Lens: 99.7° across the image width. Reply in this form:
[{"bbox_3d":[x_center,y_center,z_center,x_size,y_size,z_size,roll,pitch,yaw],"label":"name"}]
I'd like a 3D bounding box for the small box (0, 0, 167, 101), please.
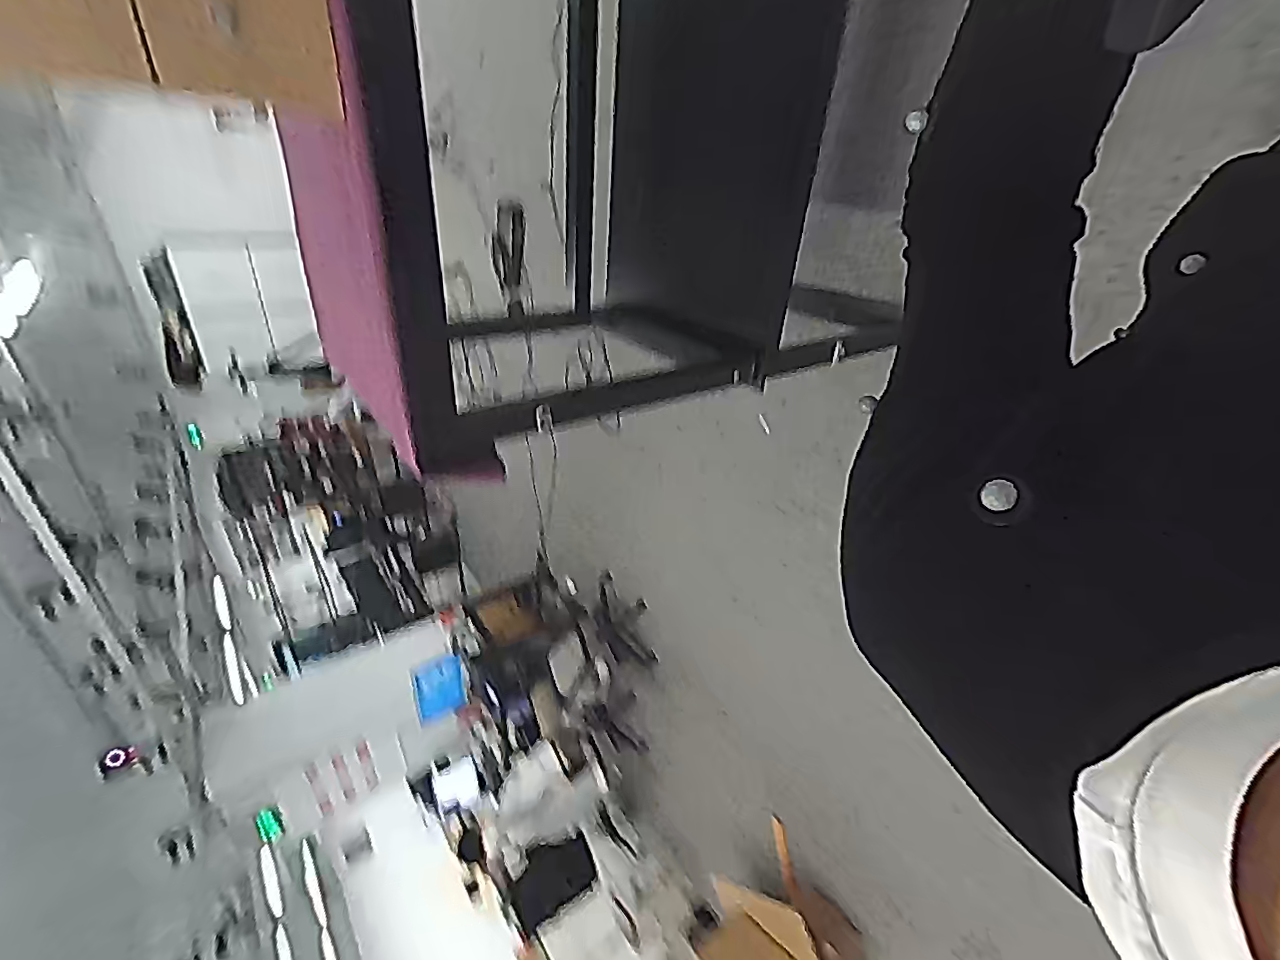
[{"bbox_3d":[-0.569,-0.467,0.498,0.168,0.176,0.179,41,135,39],"label":"small box"}]

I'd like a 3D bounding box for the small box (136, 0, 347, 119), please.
[{"bbox_3d":[-0.437,-0.506,0.588,0.168,0.176,0.179,40,135,40],"label":"small box"}]
